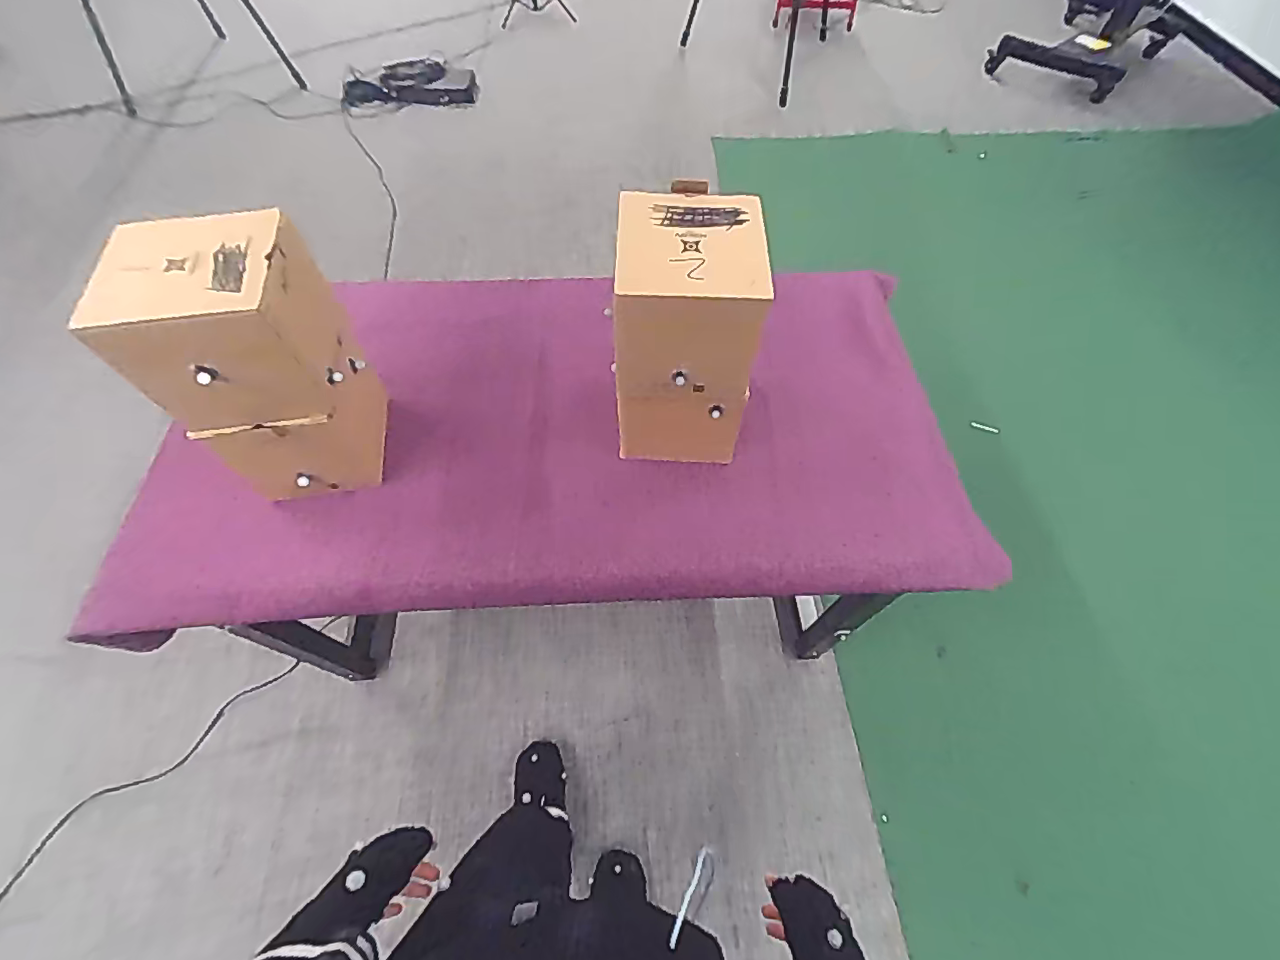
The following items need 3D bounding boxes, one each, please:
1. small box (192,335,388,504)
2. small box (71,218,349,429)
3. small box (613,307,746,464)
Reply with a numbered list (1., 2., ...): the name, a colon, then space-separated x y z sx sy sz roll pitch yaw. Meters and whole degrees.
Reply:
1. small box: -0.478 -0.087 0.774 0.168 0.176 0.179 -9 60 -5
2. small box: -0.471 -0.177 0.632 0.179 0.176 0.168 -6 58 -5
3. small box: 0.055 -0.135 0.808 0.179 0.176 0.168 2 59 1
